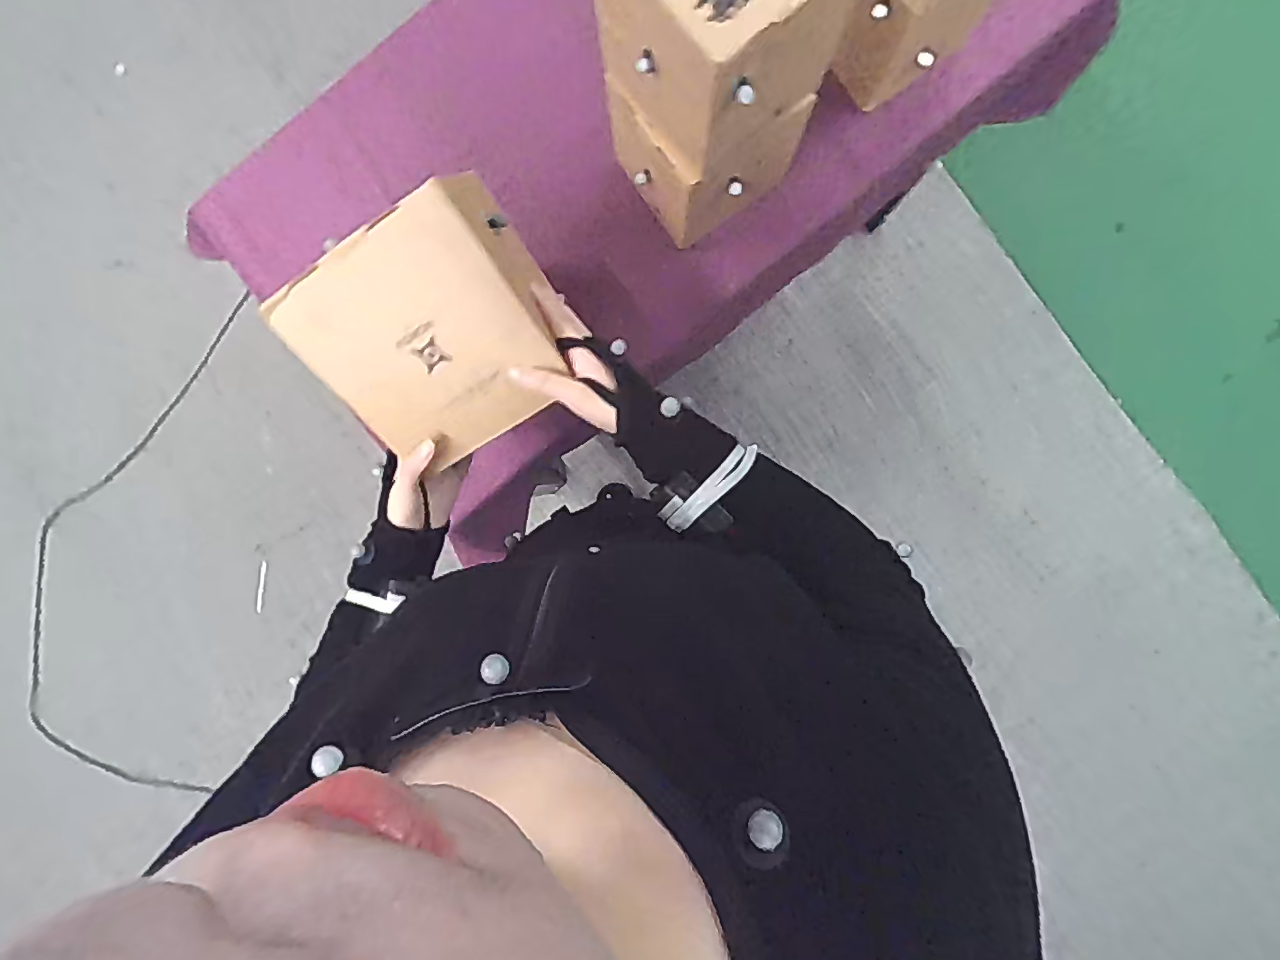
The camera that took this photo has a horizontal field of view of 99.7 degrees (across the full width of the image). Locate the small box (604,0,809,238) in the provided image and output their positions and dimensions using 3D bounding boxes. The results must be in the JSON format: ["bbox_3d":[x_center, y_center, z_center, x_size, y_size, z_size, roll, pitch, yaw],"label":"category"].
[{"bbox_3d":[0.078,-0.445,0.681,0.179,0.176,0.168,-35,89,2],"label":"small box"}]

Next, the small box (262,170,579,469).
[{"bbox_3d":[-0.170,-0.148,0.482,0.168,0.176,0.179,-28,122,12],"label":"small box"}]

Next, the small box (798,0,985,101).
[{"bbox_3d":[0.324,-0.635,0.674,0.168,0.176,0.179,-34,90,2],"label":"small box"}]
